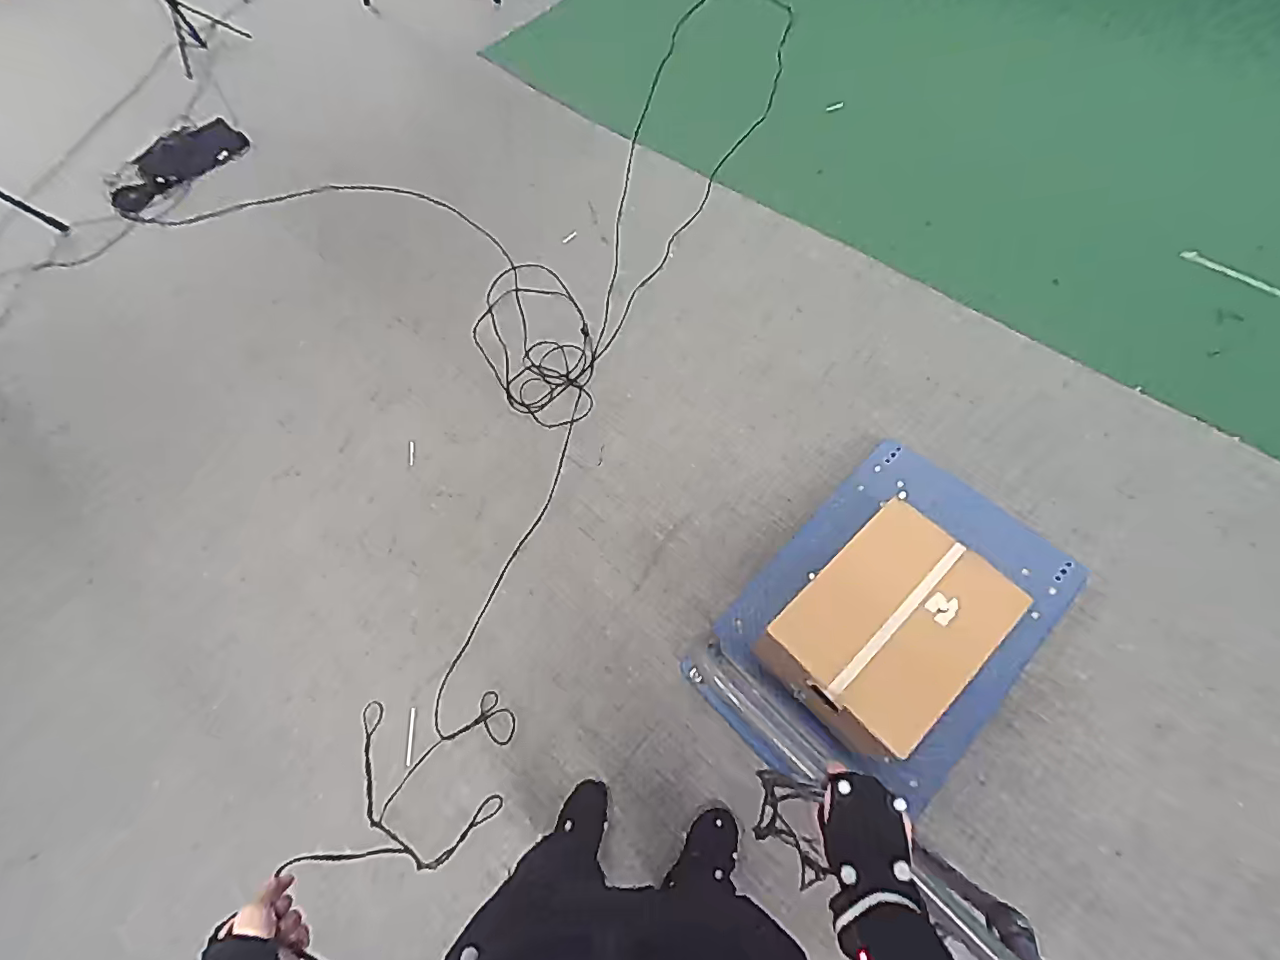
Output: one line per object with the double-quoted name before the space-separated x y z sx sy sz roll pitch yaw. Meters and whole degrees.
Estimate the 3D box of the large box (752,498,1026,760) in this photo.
"large box" 0.496 0.324 1.157 0.408 0.320 0.320 -41 69 -14
